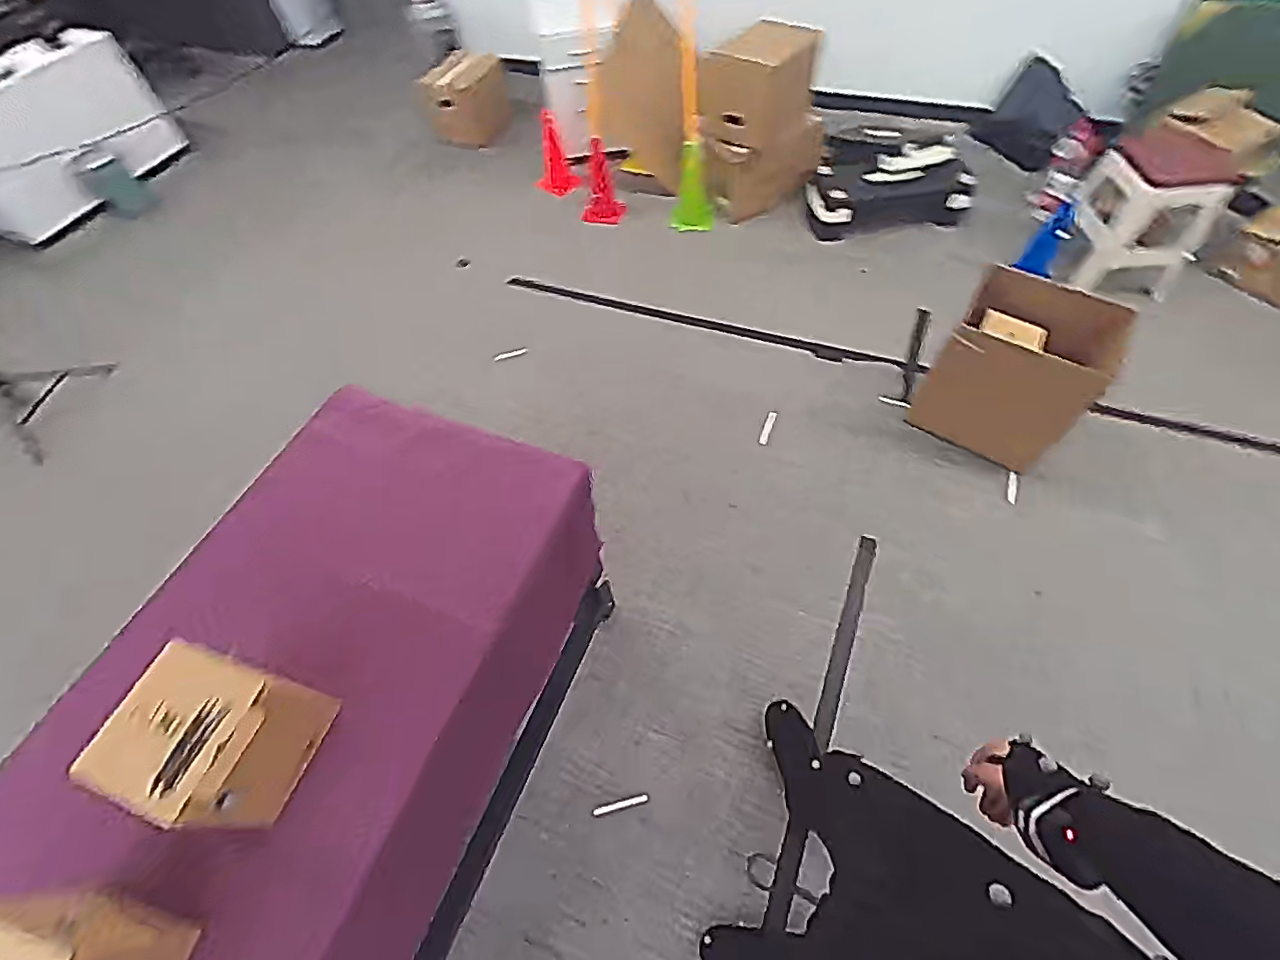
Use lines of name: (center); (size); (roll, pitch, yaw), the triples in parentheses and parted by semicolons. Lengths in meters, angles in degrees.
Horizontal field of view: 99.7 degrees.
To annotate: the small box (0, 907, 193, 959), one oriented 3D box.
small box: (-0.652, 0.588, 0.581); (0.179, 0.176, 0.168); (8, 58, 11)
